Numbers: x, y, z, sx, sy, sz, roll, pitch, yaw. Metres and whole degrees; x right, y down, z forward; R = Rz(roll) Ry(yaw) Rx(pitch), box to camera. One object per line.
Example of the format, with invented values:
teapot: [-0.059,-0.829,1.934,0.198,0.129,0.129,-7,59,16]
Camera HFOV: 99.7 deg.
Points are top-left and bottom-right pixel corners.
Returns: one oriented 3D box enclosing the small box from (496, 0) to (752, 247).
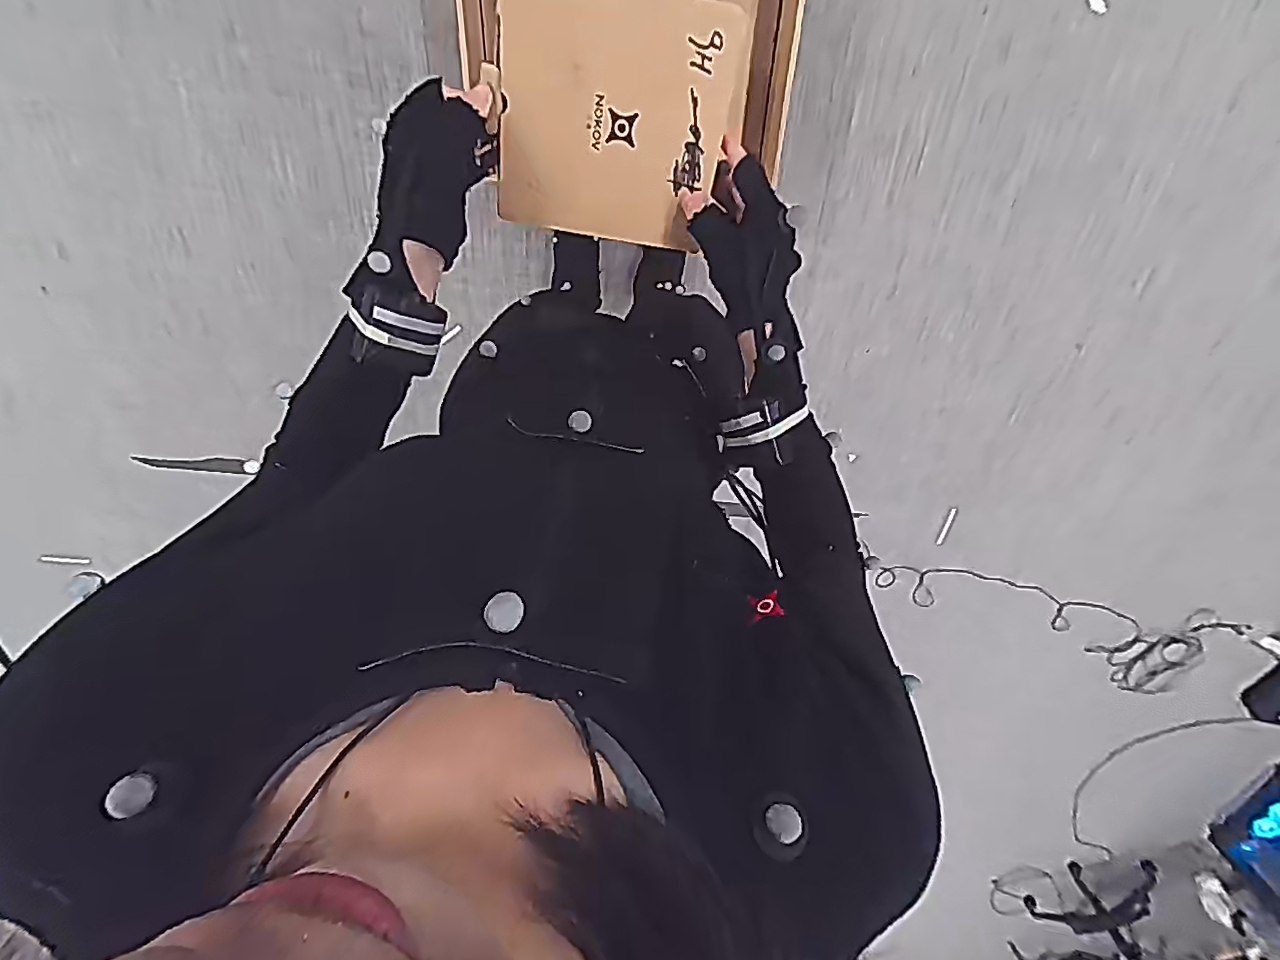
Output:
small box: [-0.017,-0.324,0.476,0.179,0.176,0.168,9,127,-4]
